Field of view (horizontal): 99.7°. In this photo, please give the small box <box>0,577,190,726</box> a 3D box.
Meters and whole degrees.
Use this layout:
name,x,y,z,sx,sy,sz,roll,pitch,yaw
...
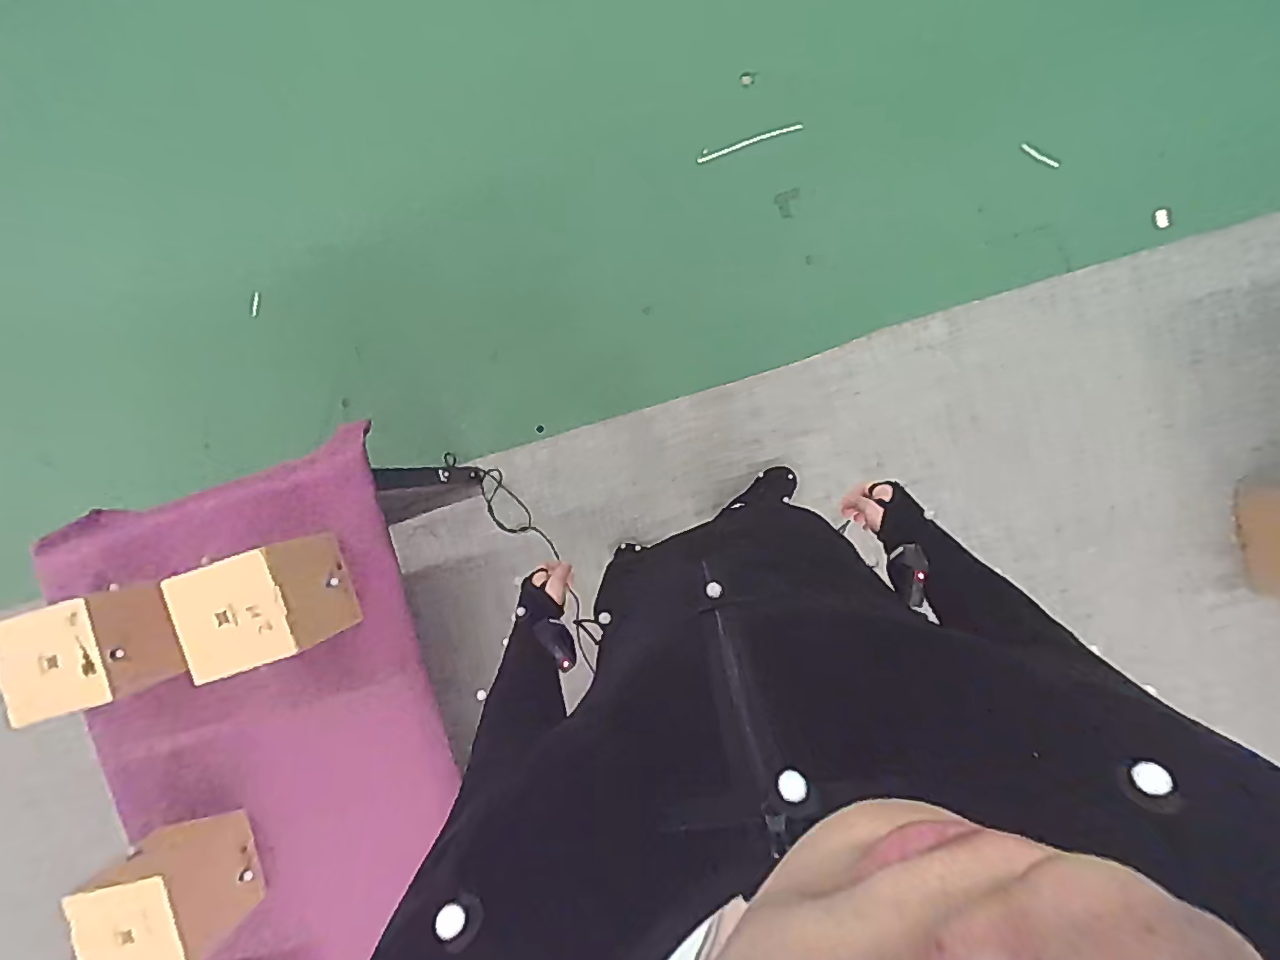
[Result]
name,x,y,z,sx,sy,sz,roll,pitch,yaw
small box,-0.893,0.275,0.900,0.179,0.176,0.168,-16,92,4

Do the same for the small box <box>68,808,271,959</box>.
name,x,y,z,sx,sy,sz,roll,pitch,yaw
small box,-0.780,0.696,0.914,0.179,0.176,0.168,-14,92,3

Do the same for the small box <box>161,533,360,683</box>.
name,x,y,z,sx,sy,sz,roll,pitch,yaw
small box,-0.599,0.197,0.875,0.179,0.176,0.168,-18,93,4
